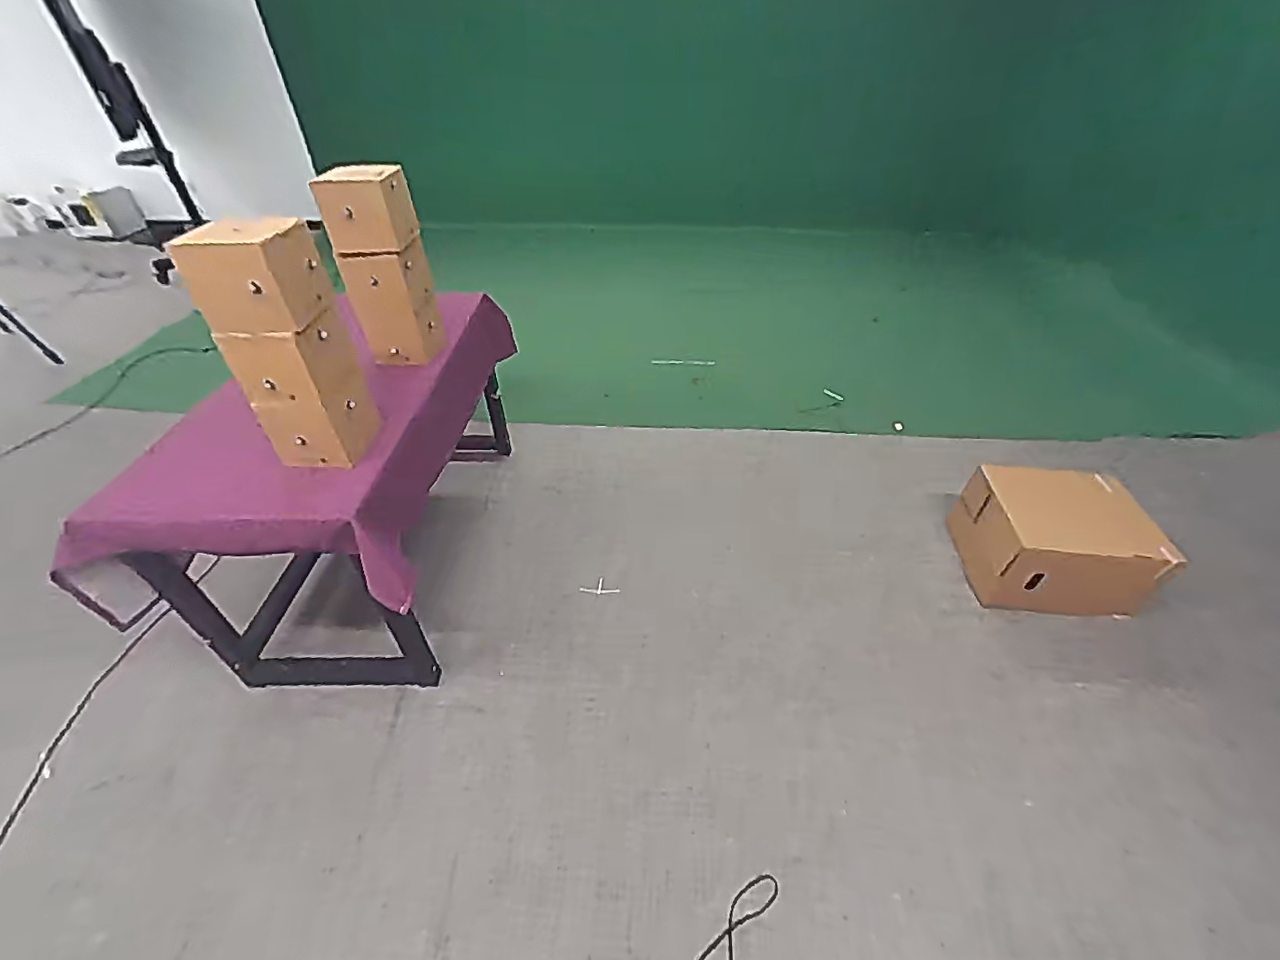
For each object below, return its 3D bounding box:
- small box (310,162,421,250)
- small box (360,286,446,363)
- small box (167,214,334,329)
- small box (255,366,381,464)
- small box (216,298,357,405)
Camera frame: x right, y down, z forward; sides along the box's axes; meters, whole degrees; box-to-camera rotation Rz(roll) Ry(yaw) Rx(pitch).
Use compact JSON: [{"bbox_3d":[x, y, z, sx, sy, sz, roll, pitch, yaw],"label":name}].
[{"bbox_3d":[-0.699,-0.707,1.400,0.179,0.176,0.168,-1,42,2],"label":"small box"},{"bbox_3d":[-0.704,-0.470,1.630,0.168,0.176,0.179,1,42,4],"label":"small box"},{"bbox_3d":[-0.739,-0.404,1.055,0.179,0.176,0.168,0,41,2],"label":"small box"},{"bbox_3d":[-0.736,-0.152,1.264,0.168,0.176,0.179,2,41,3],"label":"small box"},{"bbox_3d":[-0.739,-0.279,1.160,0.168,0.176,0.179,1,42,3],"label":"small box"}]
